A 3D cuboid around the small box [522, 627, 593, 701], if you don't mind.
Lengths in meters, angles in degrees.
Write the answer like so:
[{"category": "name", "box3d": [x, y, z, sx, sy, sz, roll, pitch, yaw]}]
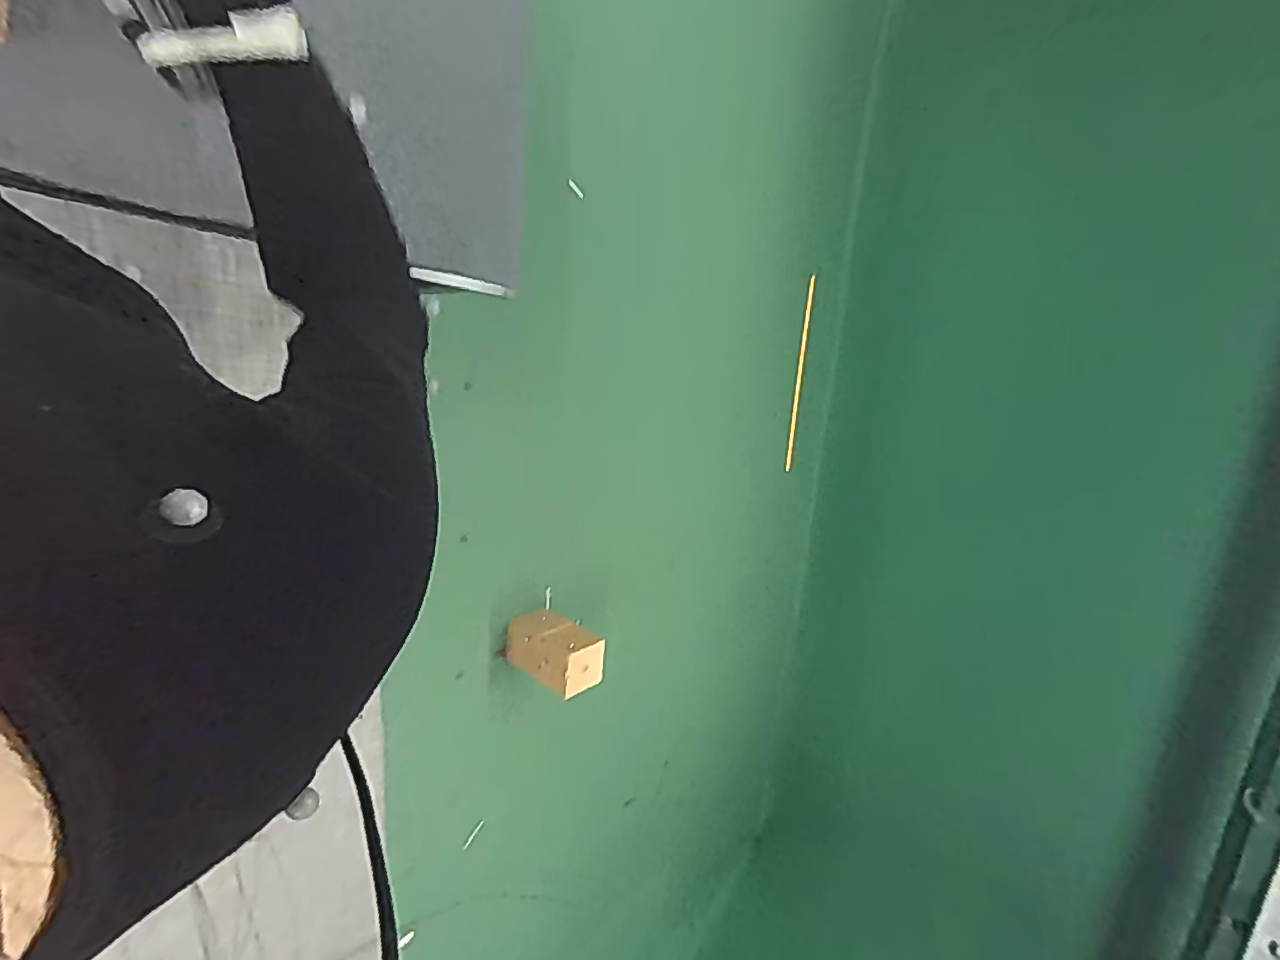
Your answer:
[{"category": "small box", "box3d": [-0.290, 0.640, 1.907, 0.179, 0.176, 0.168, -7, 107, -51]}]
